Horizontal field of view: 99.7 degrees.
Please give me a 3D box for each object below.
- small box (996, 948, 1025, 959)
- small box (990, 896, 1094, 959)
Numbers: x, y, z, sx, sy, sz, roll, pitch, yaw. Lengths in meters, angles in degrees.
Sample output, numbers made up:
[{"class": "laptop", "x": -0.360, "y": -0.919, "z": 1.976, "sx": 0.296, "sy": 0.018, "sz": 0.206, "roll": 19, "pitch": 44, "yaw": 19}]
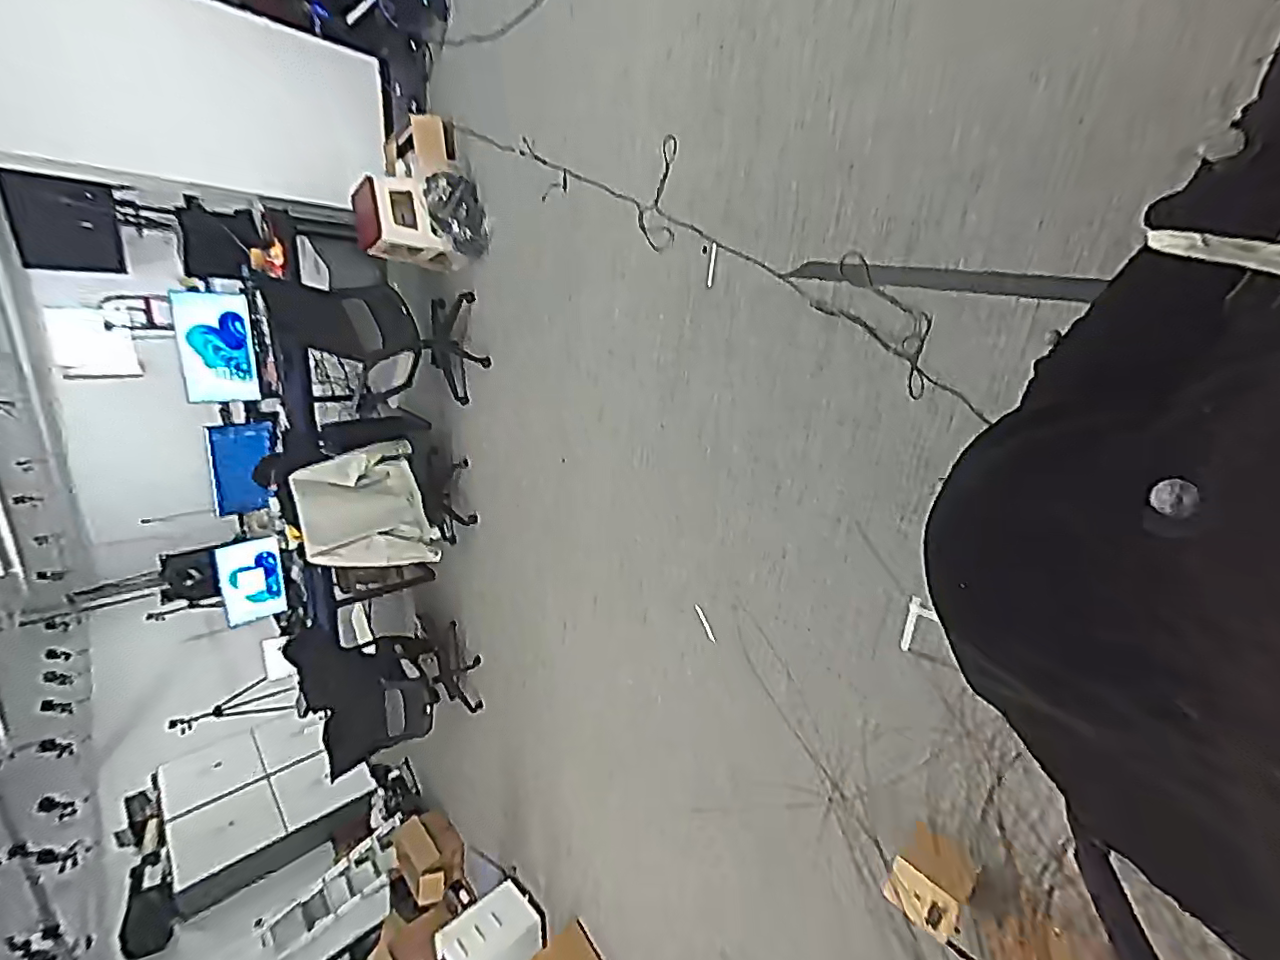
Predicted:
[{"class": "small box", "x": 0.893, "y": 1.259, "z": 1.254, "sx": 0.168, "sy": 0.176, "sz": 0.179, "roll": 23, "pitch": 117, "yaw": 41}, {"class": "small box", "x": 1.009, "y": 1.220, "z": 1.364, "sx": 0.168, "sy": 0.176, "sz": 0.179, "roll": 26, "pitch": 118, "yaw": 39}]
